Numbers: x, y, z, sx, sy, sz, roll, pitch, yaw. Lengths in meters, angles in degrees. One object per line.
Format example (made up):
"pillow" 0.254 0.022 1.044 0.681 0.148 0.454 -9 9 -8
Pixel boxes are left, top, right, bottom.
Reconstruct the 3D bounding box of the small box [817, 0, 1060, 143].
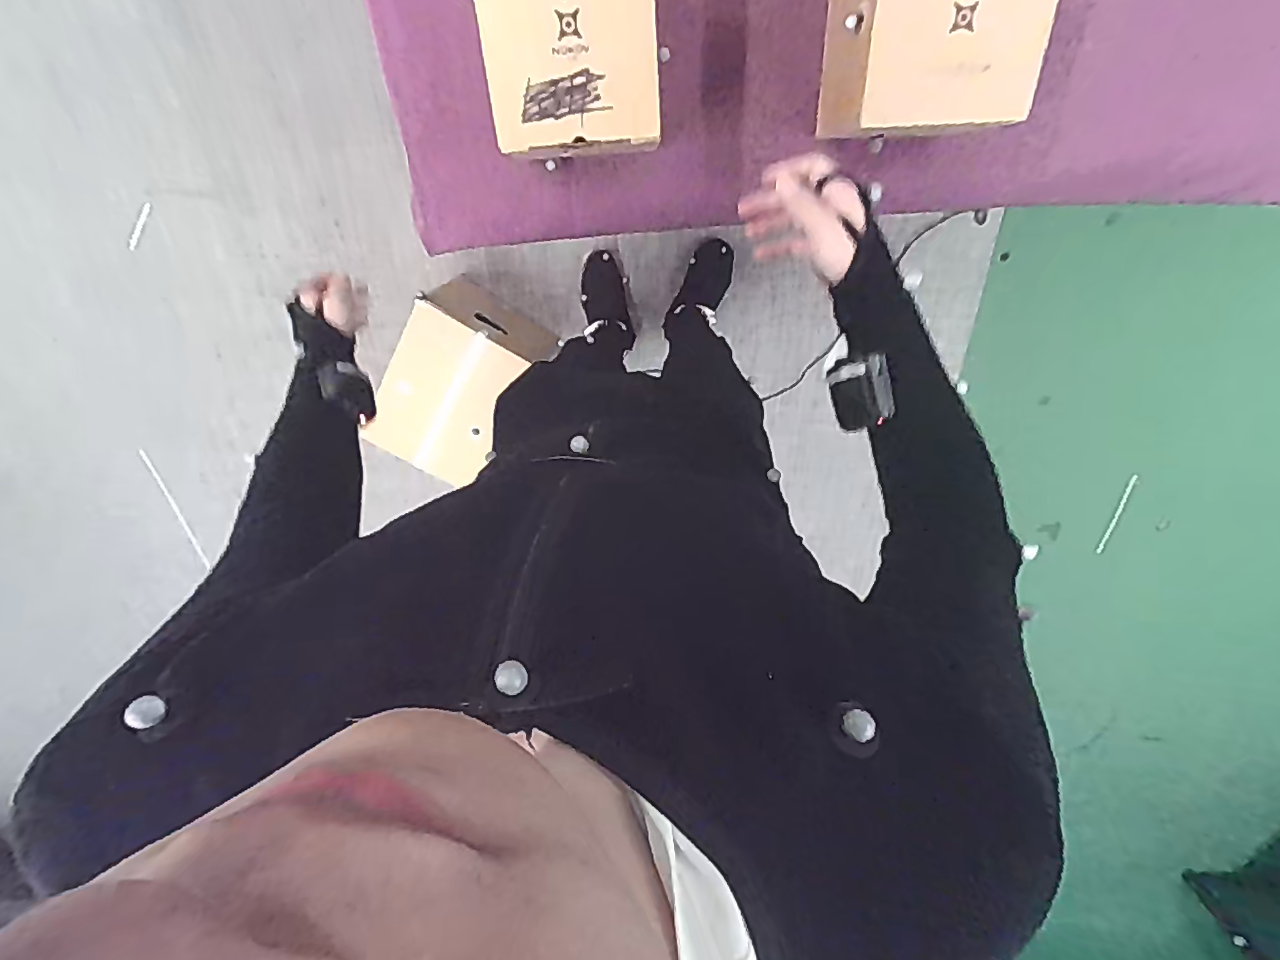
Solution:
"small box" 0.294 -0.459 0.558 0.168 0.176 0.179 -1 119 1

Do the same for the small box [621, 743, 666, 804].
"small box" 0.016 1.244 2.297 0.179 0.176 0.168 -6 119 3

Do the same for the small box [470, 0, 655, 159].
"small box" -0.068 -0.442 0.566 0.168 0.176 0.179 -4 118 2
